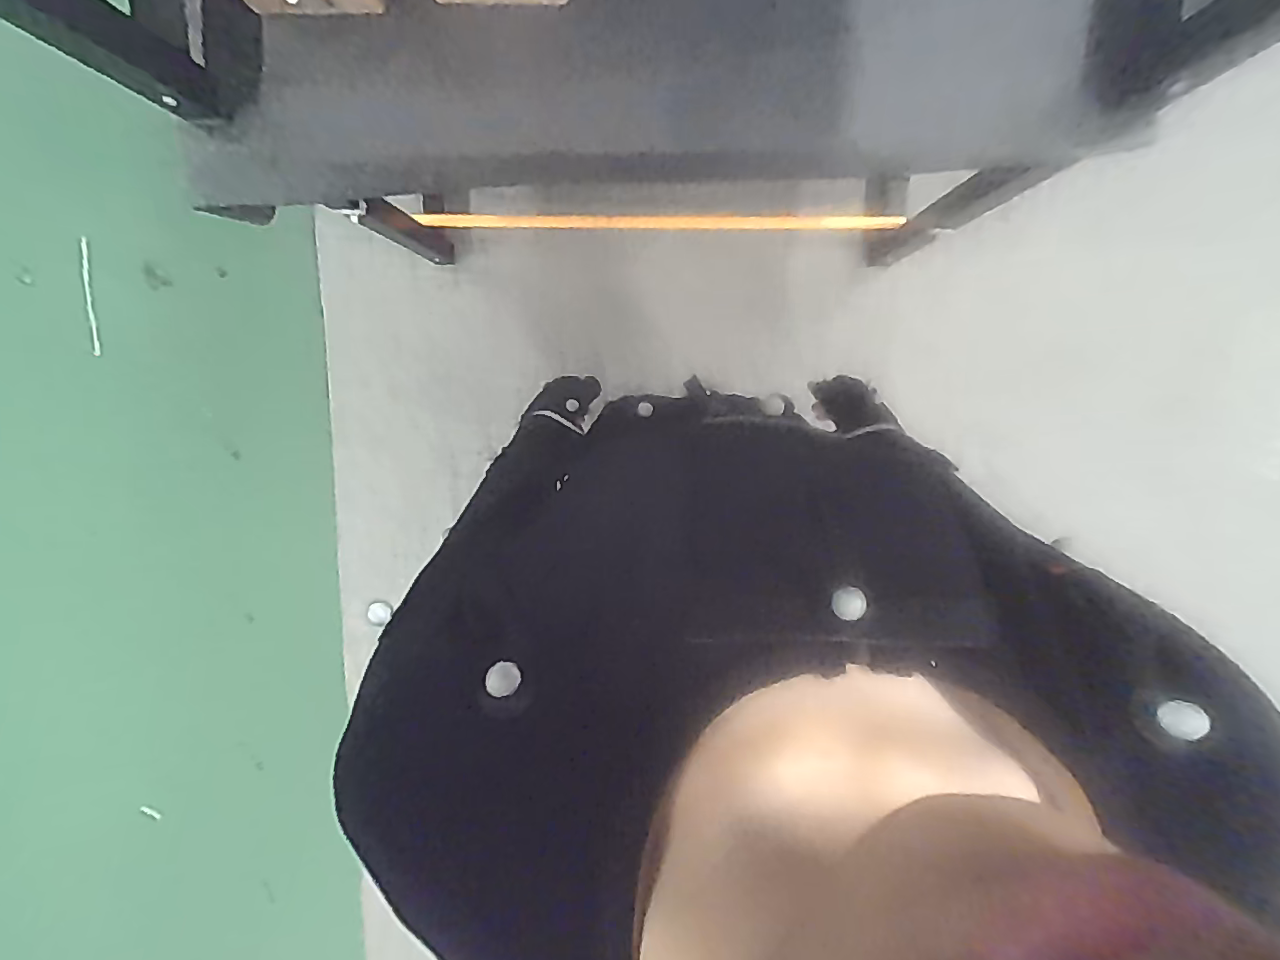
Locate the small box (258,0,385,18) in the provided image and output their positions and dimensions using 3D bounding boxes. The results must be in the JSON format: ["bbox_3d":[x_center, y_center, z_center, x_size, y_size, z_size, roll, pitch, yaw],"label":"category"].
[{"bbox_3d":[-0.397,-0.654,0.583,0.168,0.176,0.179,1,100,2],"label":"small box"}]
